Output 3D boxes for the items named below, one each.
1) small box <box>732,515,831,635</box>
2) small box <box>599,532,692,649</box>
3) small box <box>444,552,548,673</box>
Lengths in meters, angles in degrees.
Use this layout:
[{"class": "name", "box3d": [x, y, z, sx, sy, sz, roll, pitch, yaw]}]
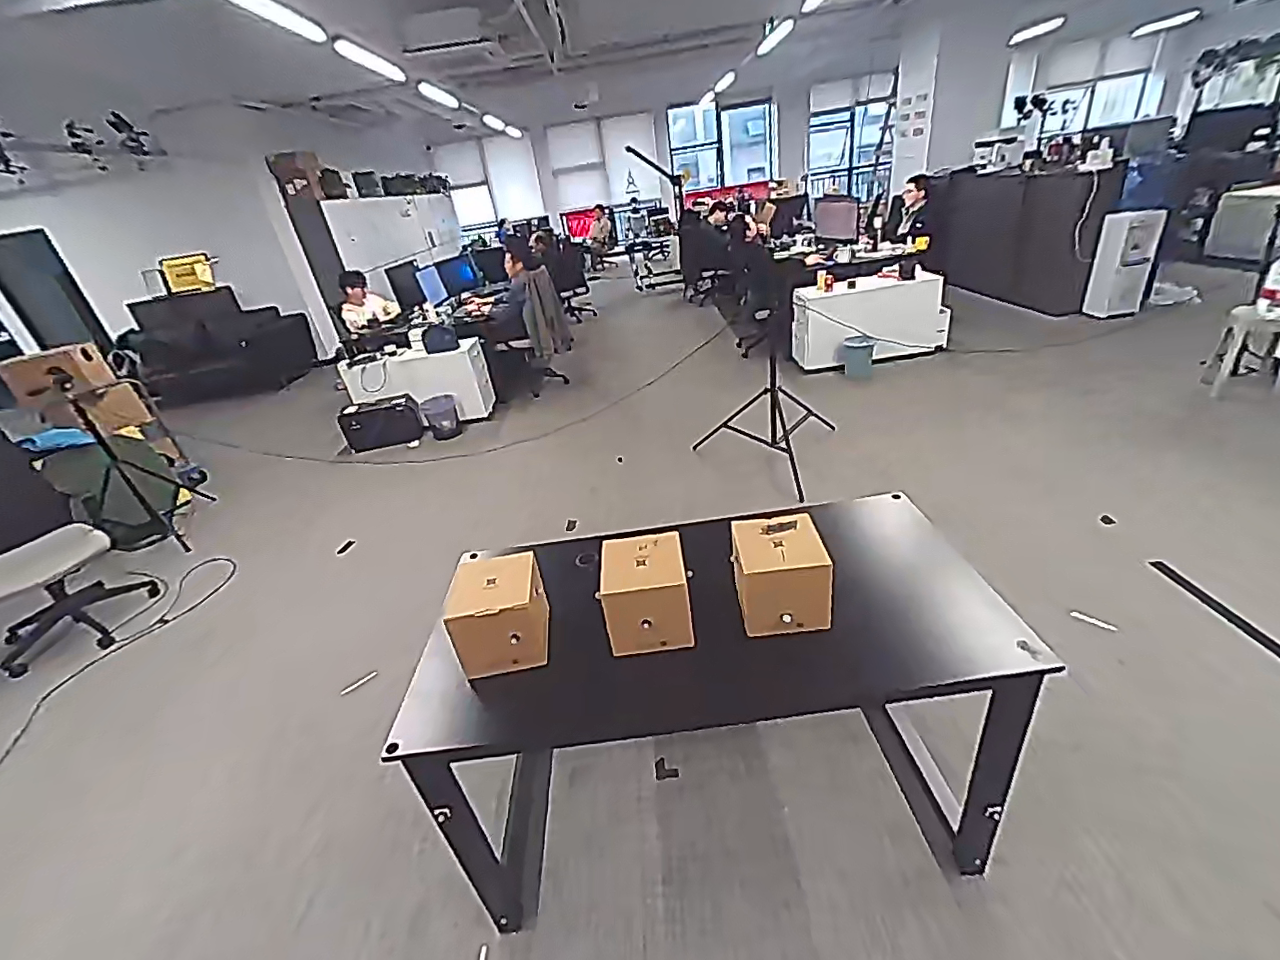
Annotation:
[{"class": "small box", "box3d": [0.285, 0.195, 1.118, 0.168, 0.176, 0.179, -7, 29, 4]}, {"class": "small box", "box3d": [0.013, 0.234, 1.125, 0.168, 0.176, 0.179, -7, 29, 2]}, {"class": "small box", "box3d": [-0.292, 0.281, 1.133, 0.168, 0.176, 0.179, -10, 28, -3]}]
